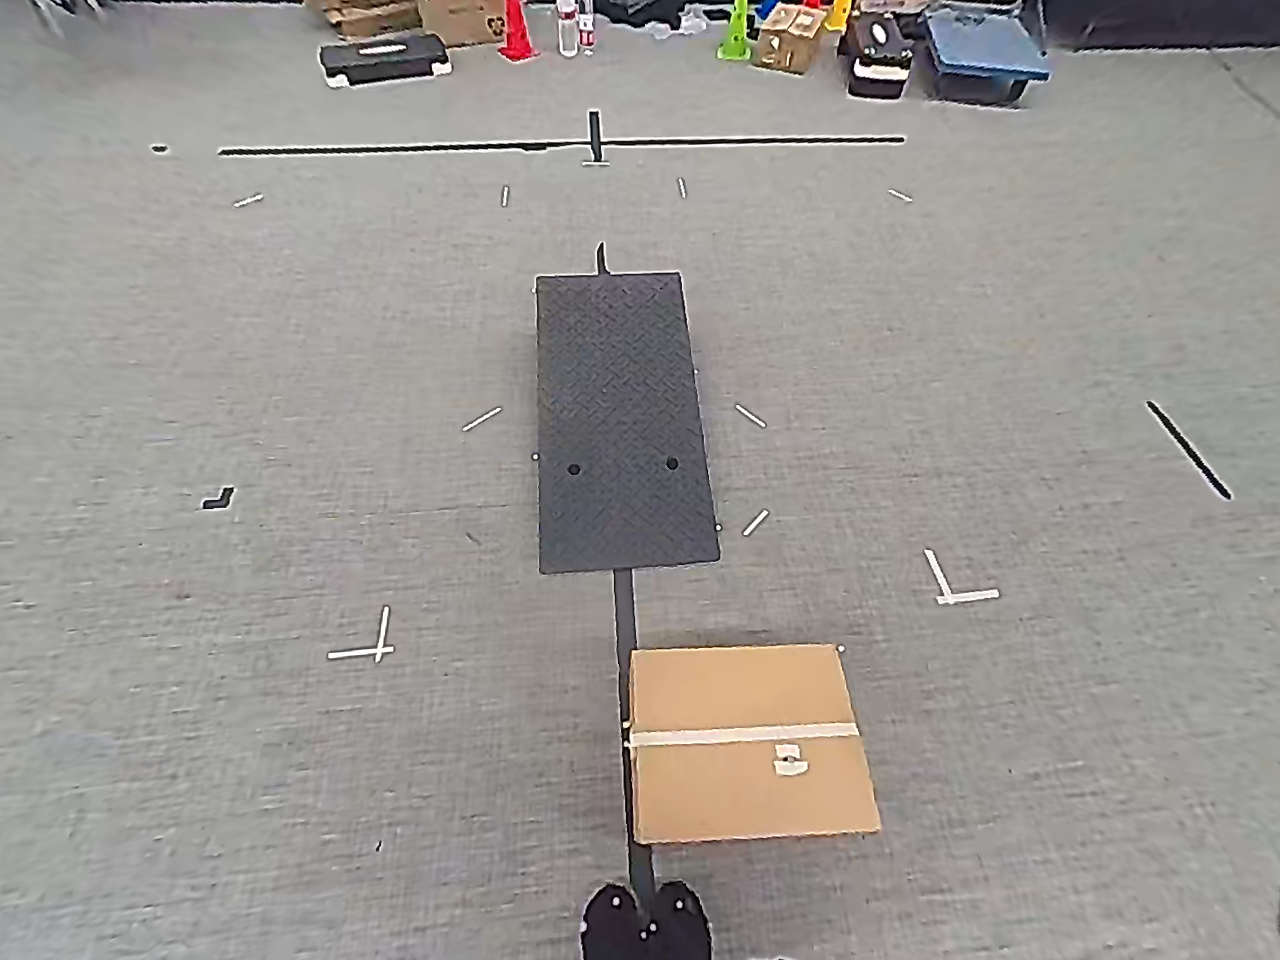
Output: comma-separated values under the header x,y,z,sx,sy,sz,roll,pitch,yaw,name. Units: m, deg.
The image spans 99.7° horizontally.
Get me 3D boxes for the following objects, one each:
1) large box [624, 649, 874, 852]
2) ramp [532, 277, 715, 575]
x,y,z,sx,sy,sz,roll,pitch,yaw,name
0.178,0.549,1.093,0.408,0.320,0.320,-1,57,-4,large box
-0.074,-0.219,1.649,0.509,0.206,0.991,-4,58,-7,ramp
